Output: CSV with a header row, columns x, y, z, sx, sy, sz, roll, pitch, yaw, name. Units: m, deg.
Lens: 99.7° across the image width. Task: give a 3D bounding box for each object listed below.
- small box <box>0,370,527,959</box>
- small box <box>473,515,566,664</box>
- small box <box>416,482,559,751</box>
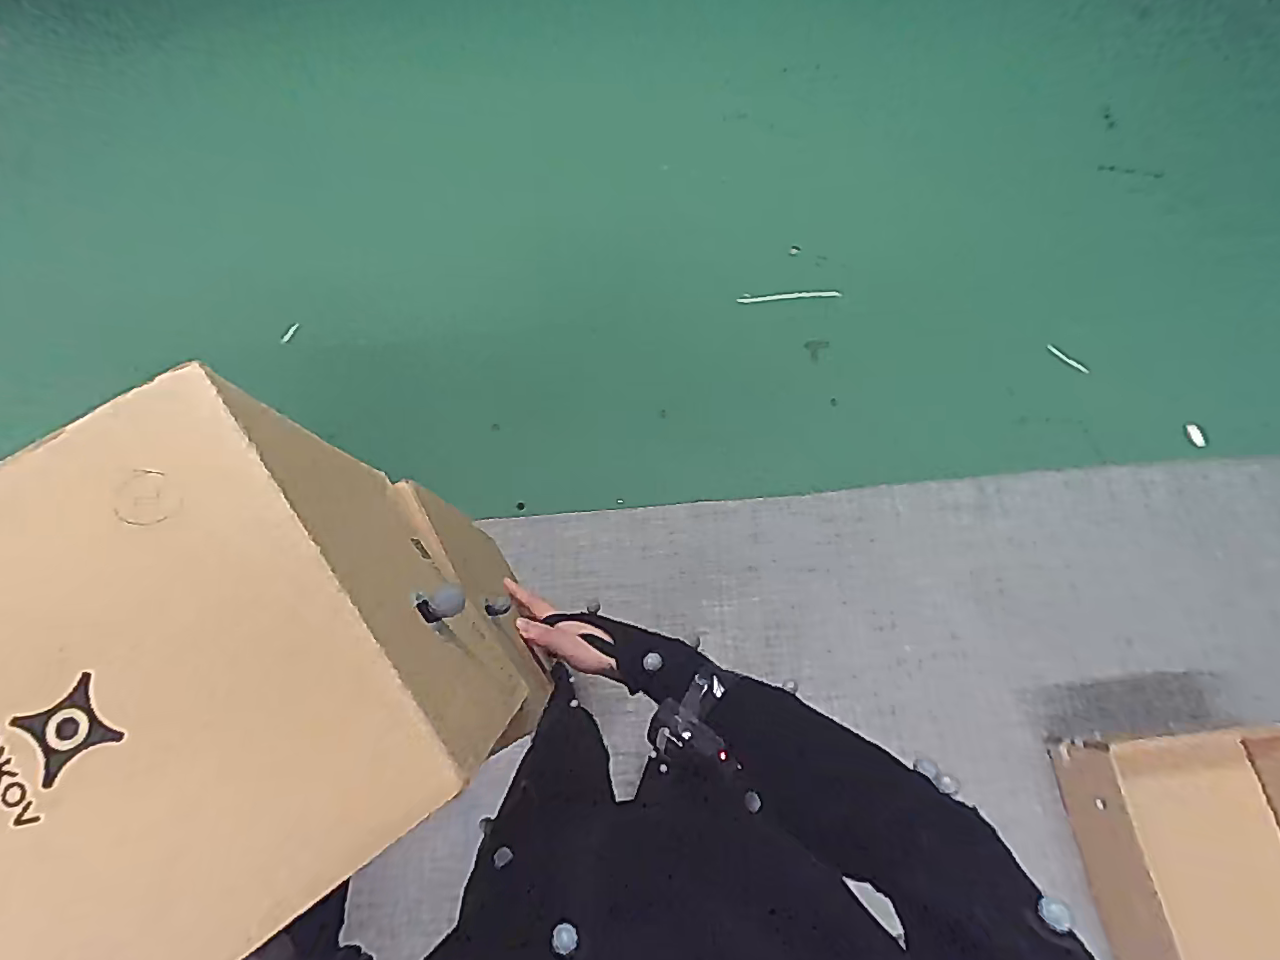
x,y,z,sx,sy,sz,roll,pitch,yaw,name
-0.165,0.087,0.241,0.179,0.176,0.168,-34,82,-10,small box
-0.191,0.160,0.558,0.179,0.176,0.168,-30,81,-11,small box
-0.171,0.125,0.399,0.168,0.176,0.179,-27,81,-10,small box
